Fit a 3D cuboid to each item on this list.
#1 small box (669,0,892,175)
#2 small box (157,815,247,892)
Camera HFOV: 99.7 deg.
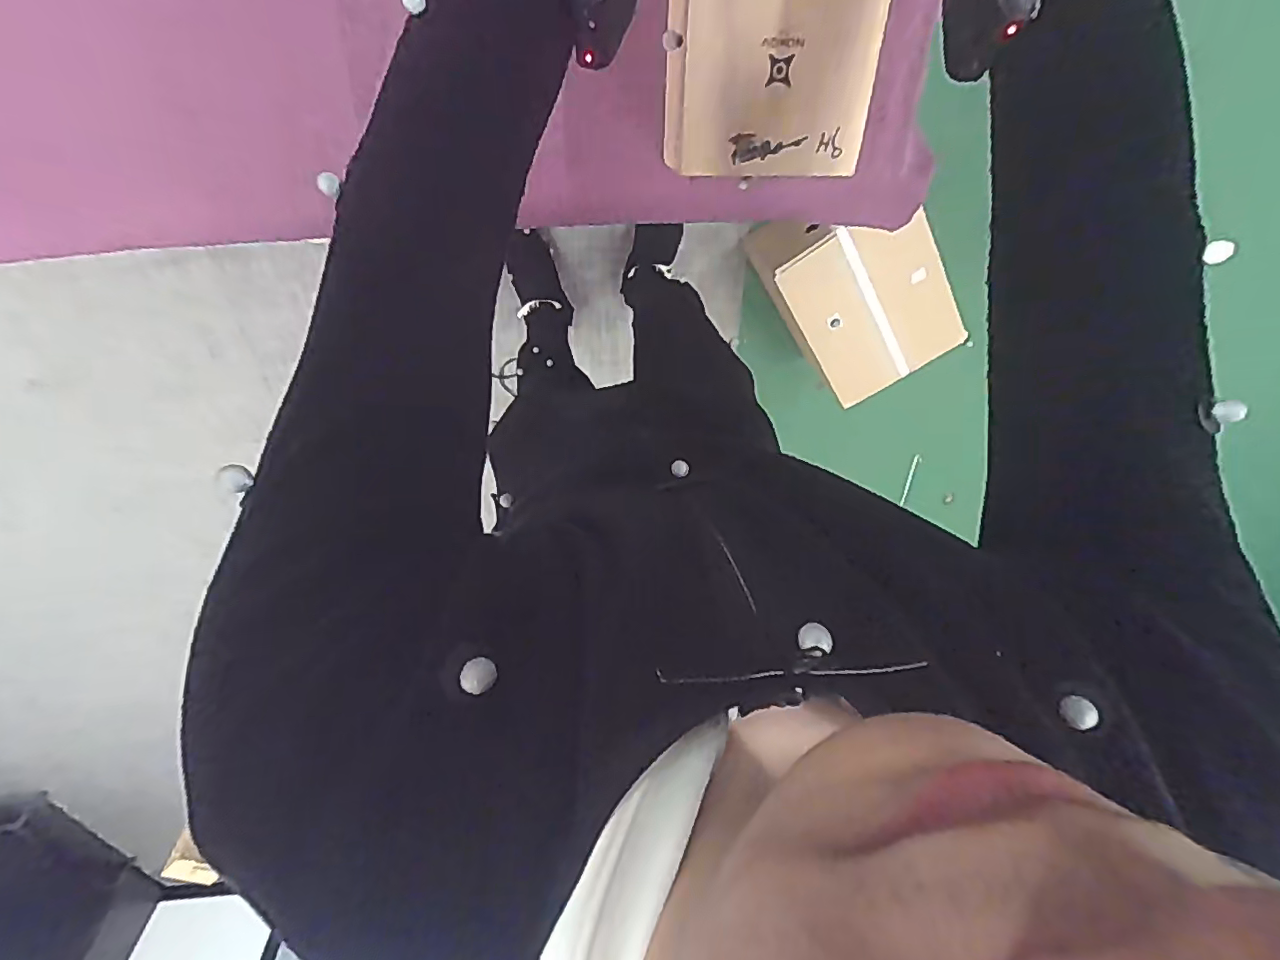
[{"bbox_3d":[0.118,-0.398,0.519,0.168,0.176,0.179,0,123,-2],"label":"small box"},{"bbox_3d":[-1.545,1.324,1.918,0.168,0.176,0.179,37,116,-26],"label":"small box"}]
